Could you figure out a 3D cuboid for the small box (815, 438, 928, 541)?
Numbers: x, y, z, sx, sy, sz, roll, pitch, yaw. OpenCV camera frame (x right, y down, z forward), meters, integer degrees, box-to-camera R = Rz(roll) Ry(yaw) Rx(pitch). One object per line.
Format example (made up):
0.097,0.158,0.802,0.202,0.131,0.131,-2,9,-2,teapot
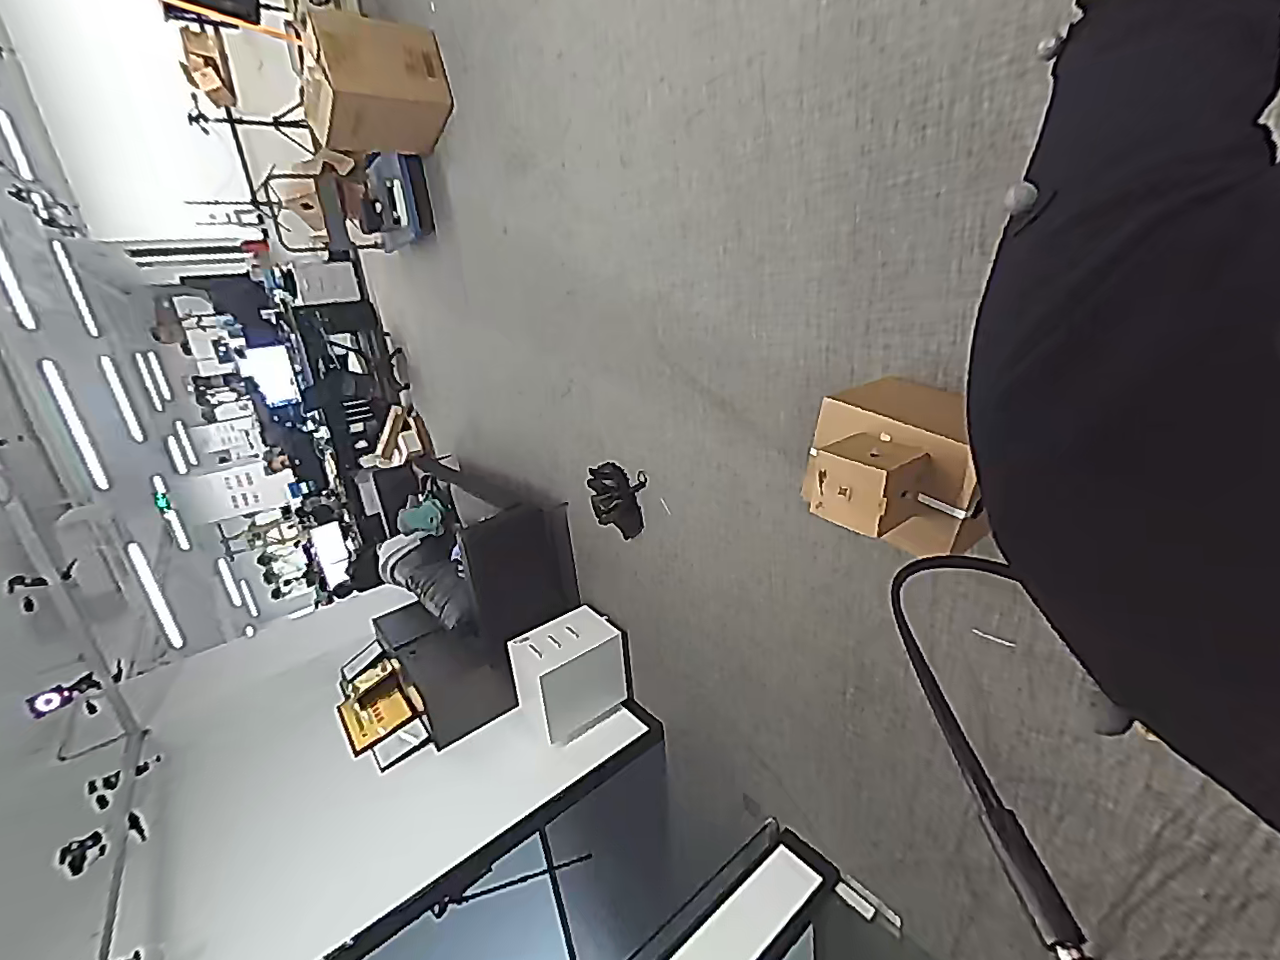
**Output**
0.534,0.012,1.251,0.179,0.176,0.168,26,126,46,small box
